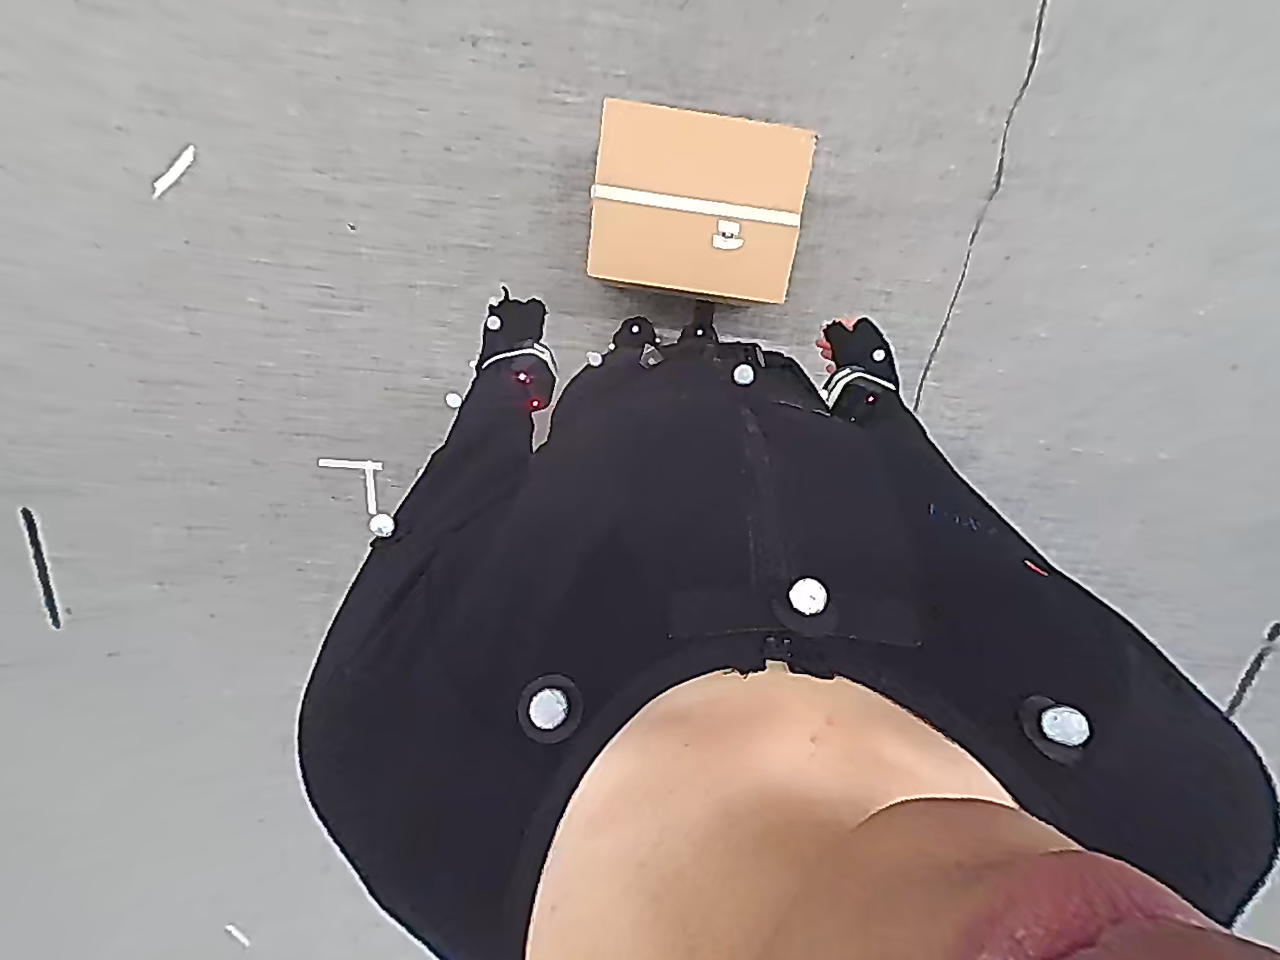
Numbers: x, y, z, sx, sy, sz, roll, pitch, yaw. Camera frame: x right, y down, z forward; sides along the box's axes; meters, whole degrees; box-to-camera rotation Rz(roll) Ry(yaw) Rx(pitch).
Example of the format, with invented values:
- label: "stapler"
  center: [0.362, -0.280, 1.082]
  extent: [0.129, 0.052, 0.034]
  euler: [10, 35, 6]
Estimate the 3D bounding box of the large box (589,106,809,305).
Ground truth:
- label: "large box"
  center: [0.105, -0.574, 1.199]
  extent: [0.408, 0.320, 0.320]
  euler: [7, 107, -3]
